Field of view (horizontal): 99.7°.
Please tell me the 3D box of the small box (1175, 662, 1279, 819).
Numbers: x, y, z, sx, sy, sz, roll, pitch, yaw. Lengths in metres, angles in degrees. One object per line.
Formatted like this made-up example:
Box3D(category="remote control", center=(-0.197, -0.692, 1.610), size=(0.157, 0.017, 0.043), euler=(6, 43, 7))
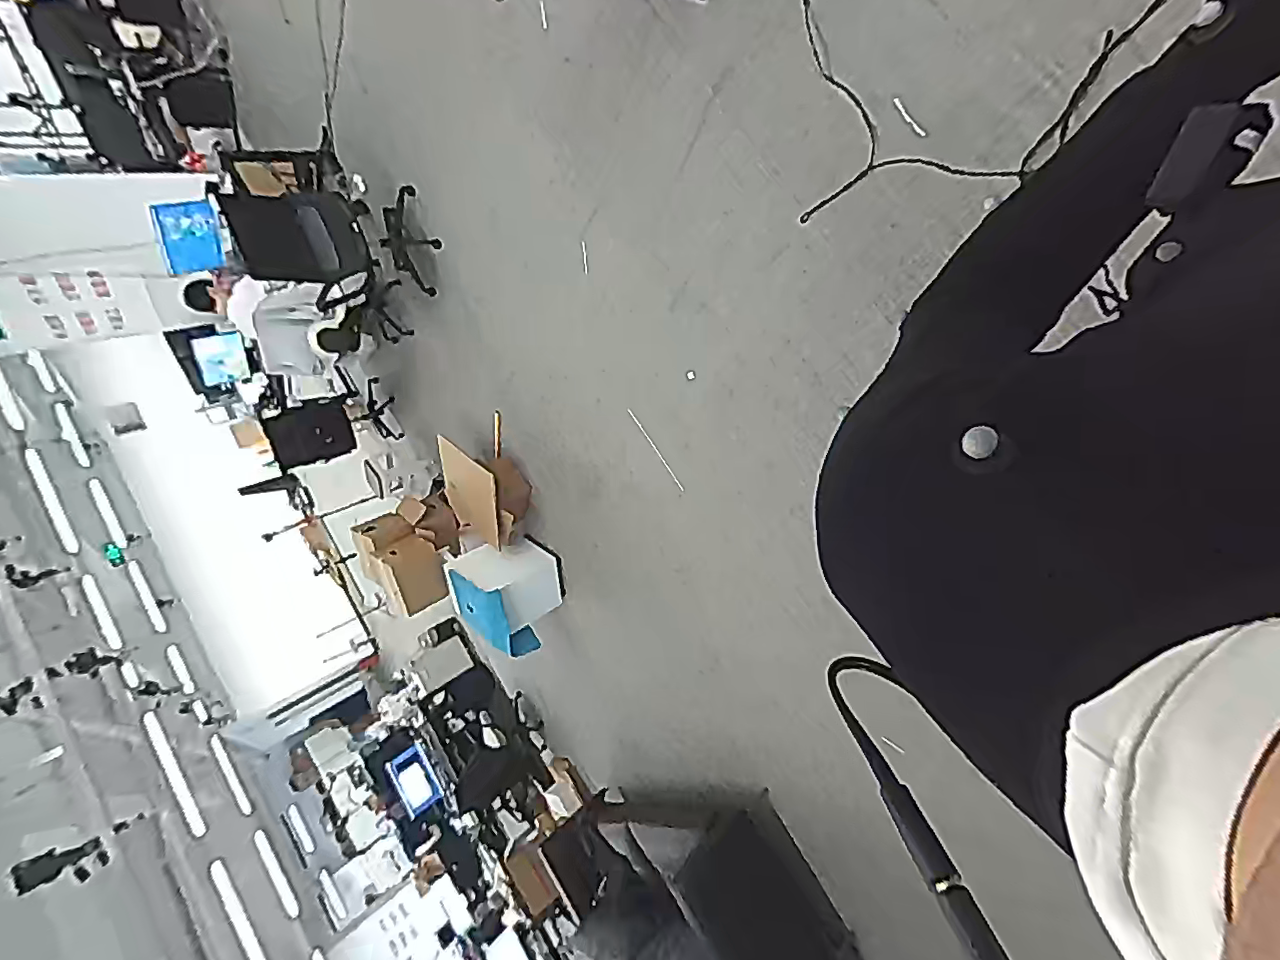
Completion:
Box3D(category="small box", center=(1.033, 0.421, 0.882), size=(0.168, 0.176, 0.179), euler=(-33, 83, 53))
